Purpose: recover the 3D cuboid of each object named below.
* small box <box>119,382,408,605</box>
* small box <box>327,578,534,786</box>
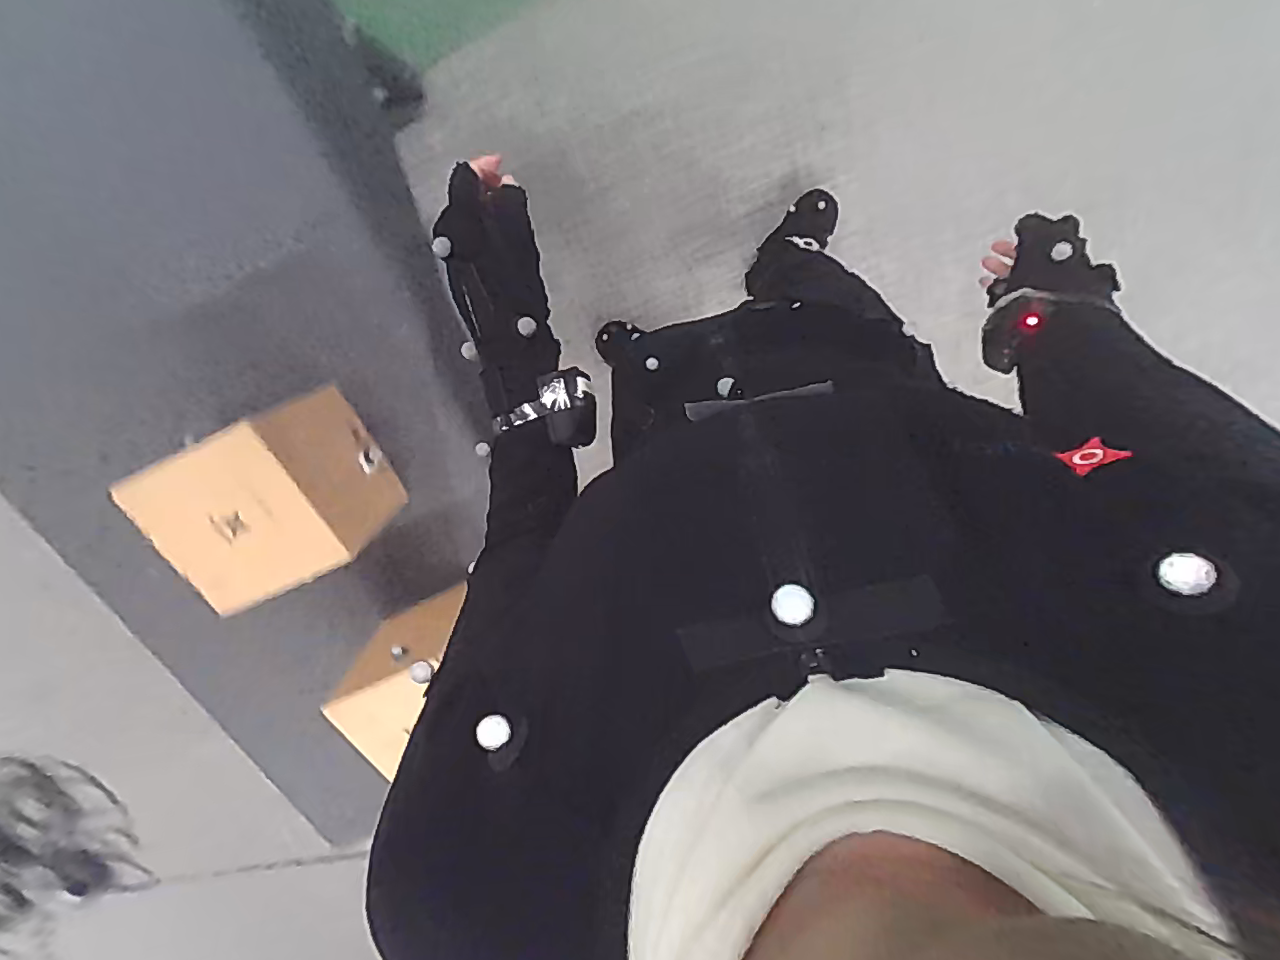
[{"bbox_3d":[-0.410,0.007,0.627,0.179,0.176,0.168,-24,111,9],"label":"small box"},{"bbox_3d":[-0.259,0.260,0.724,0.179,0.176,0.168,-26,109,13],"label":"small box"}]
